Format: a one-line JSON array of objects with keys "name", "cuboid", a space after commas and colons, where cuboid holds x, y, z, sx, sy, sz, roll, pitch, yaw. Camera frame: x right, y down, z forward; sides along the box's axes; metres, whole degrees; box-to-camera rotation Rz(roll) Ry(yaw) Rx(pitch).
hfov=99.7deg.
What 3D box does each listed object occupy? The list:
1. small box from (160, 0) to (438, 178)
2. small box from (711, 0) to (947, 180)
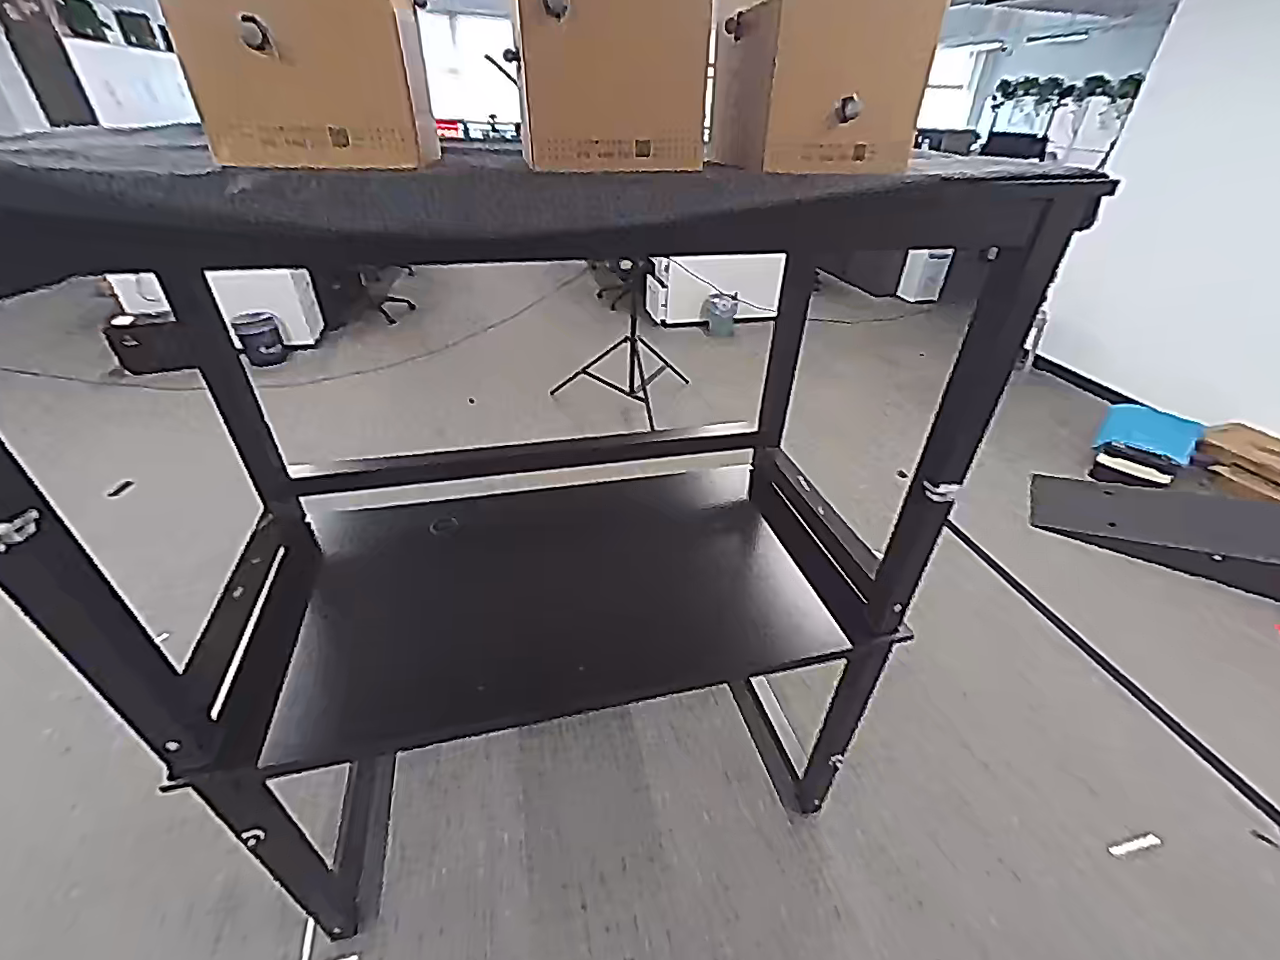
[{"name": "small box", "cuboid": [-0.291, -0.378, 0.495, 0.168, 0.176, 0.179, -5, 34, -10]}, {"name": "small box", "cuboid": [0.181, -0.425, 0.577, 0.168, 0.176, 0.179, -7, 35, -10]}]
